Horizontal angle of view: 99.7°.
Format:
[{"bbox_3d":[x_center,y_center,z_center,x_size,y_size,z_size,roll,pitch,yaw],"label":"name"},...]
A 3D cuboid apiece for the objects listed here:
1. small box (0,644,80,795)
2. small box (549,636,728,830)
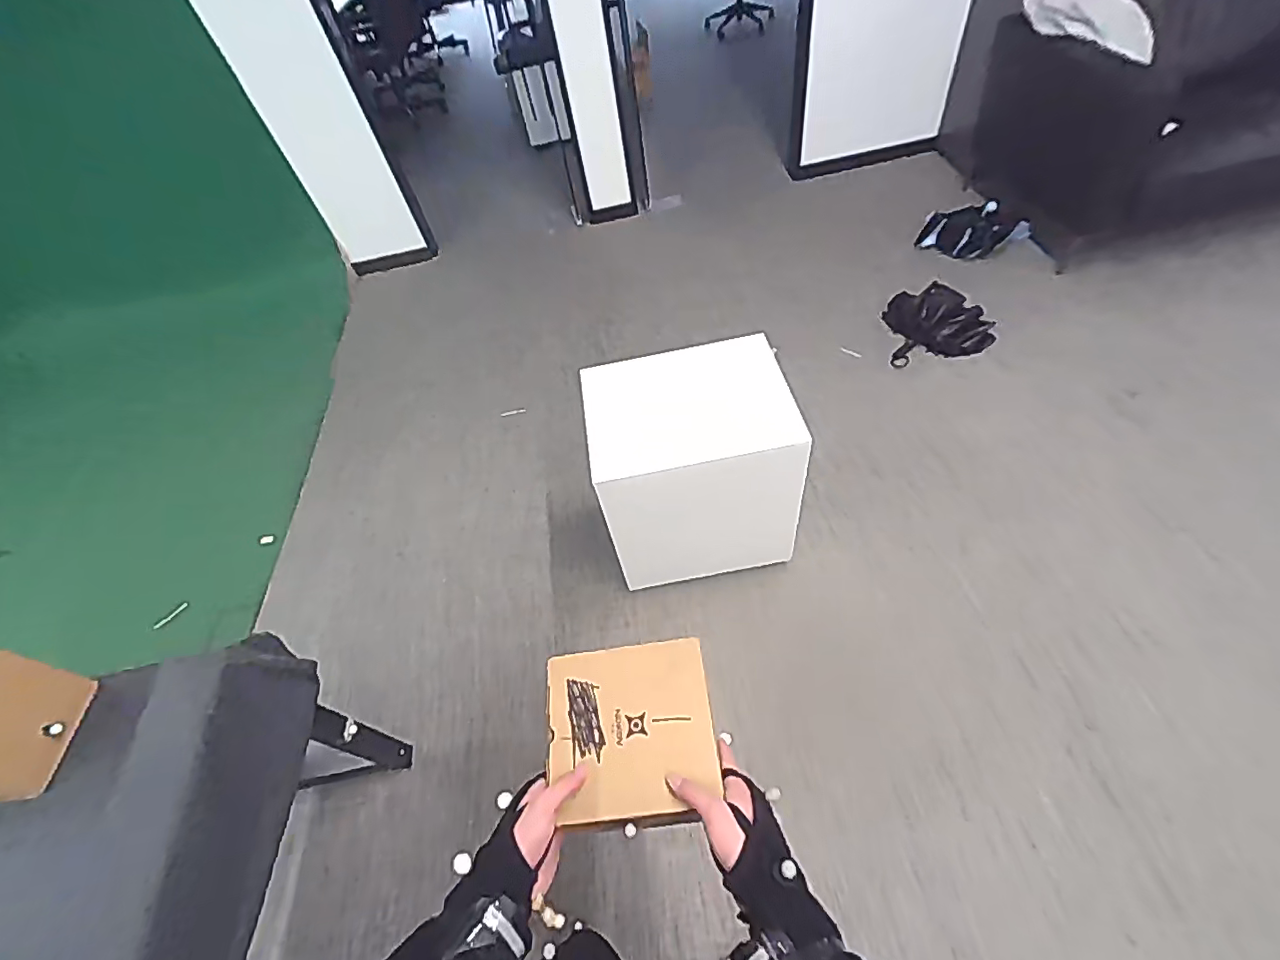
[{"bbox_3d":[-1.014,0.361,0.804,0.168,0.176,0.179,-8,53,2],"label":"small box"},{"bbox_3d":[0.003,0.295,0.620,0.179,0.176,0.168,-8,55,3],"label":"small box"}]
